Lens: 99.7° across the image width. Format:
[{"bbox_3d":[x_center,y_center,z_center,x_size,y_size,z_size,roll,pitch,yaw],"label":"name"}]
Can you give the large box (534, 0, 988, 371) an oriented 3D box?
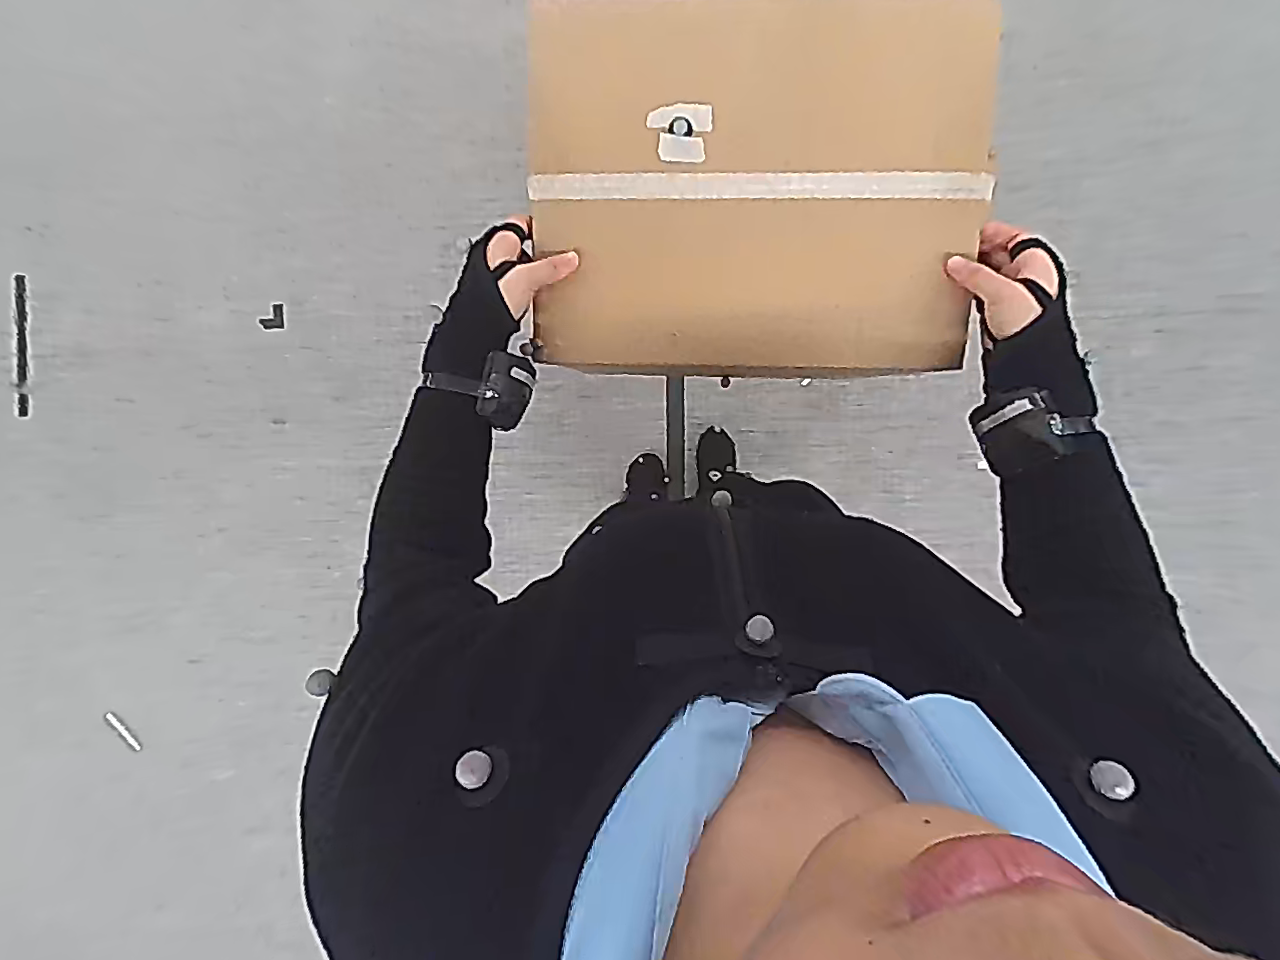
[{"bbox_3d":[0.113,-0.291,0.644,0.408,0.320,0.320,1,98,3],"label":"large box"}]
